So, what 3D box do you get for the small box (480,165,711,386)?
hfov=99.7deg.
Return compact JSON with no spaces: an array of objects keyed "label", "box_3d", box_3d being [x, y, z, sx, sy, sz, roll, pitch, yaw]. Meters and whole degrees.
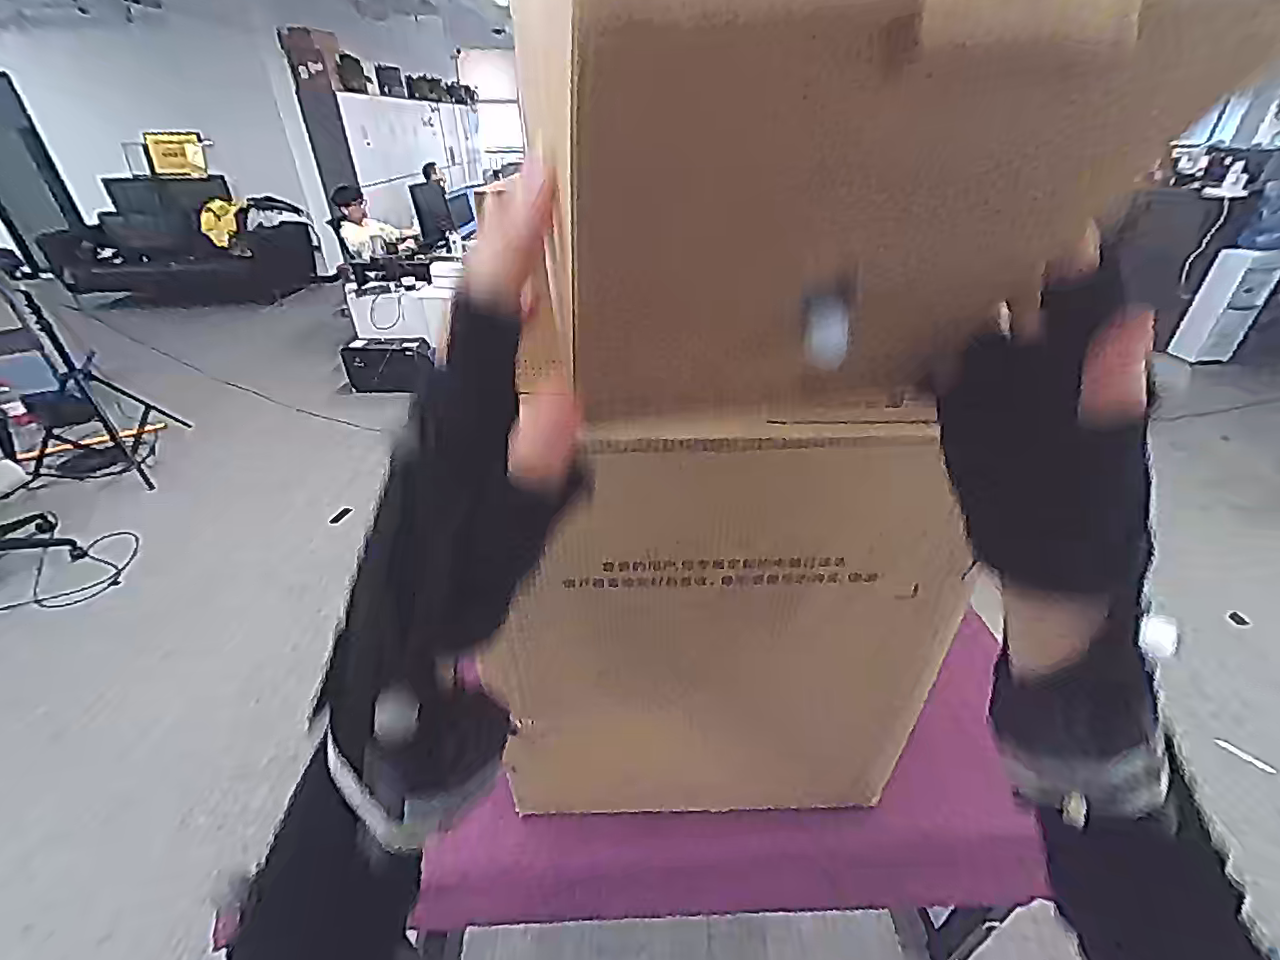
[{"label":"small box","box_3d":[-0.033,-0.196,0.514,0.179,0.176,0.168,1,32,1]}]
